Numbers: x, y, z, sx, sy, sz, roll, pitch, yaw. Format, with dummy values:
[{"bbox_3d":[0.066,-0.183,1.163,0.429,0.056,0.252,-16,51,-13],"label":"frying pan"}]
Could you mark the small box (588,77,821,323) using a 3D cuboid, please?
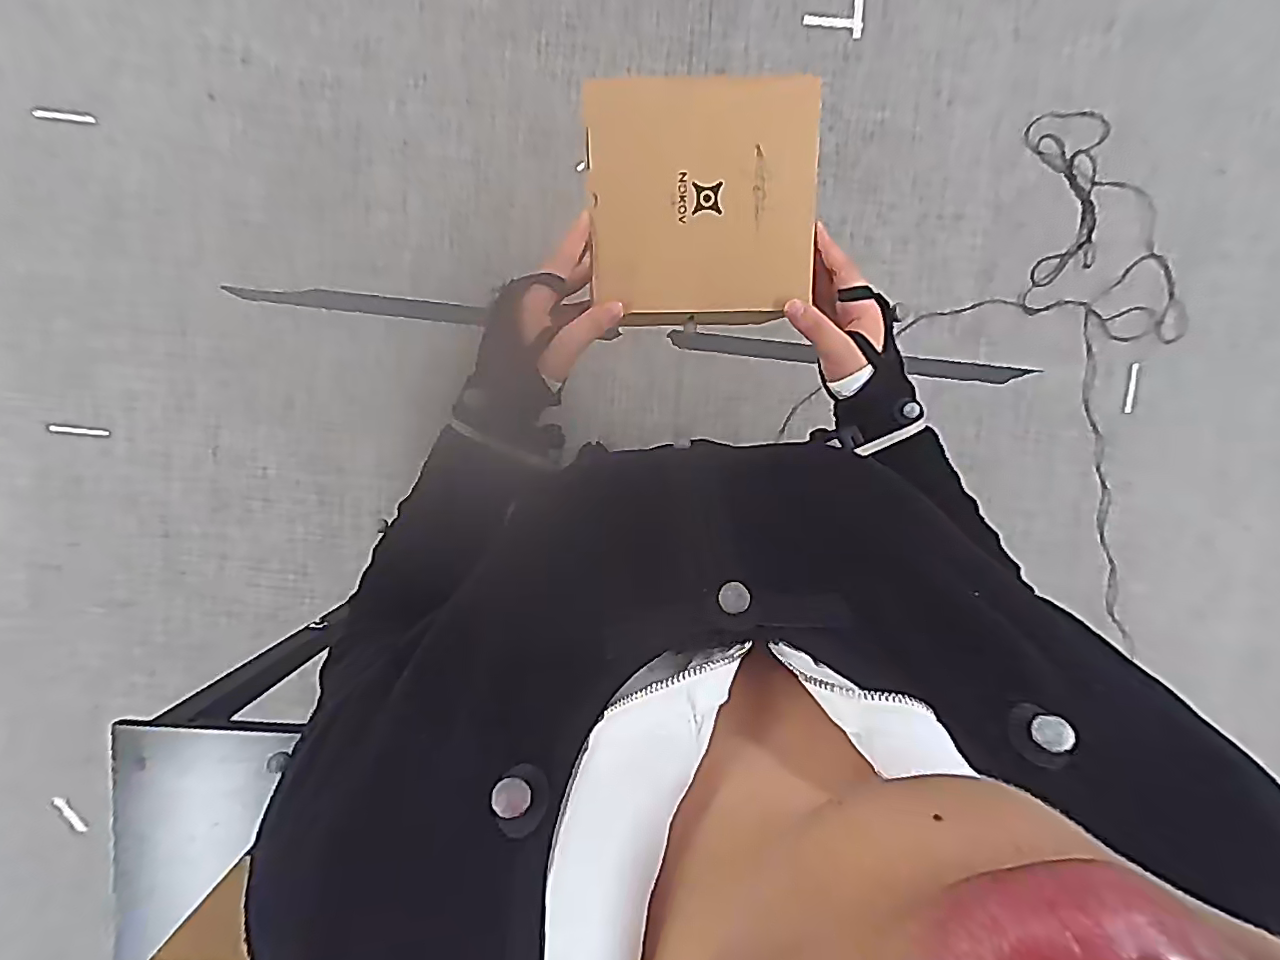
[{"bbox_3d":[0.049,-0.235,0.497,0.179,0.176,0.168,-2,103,-1],"label":"small box"}]
